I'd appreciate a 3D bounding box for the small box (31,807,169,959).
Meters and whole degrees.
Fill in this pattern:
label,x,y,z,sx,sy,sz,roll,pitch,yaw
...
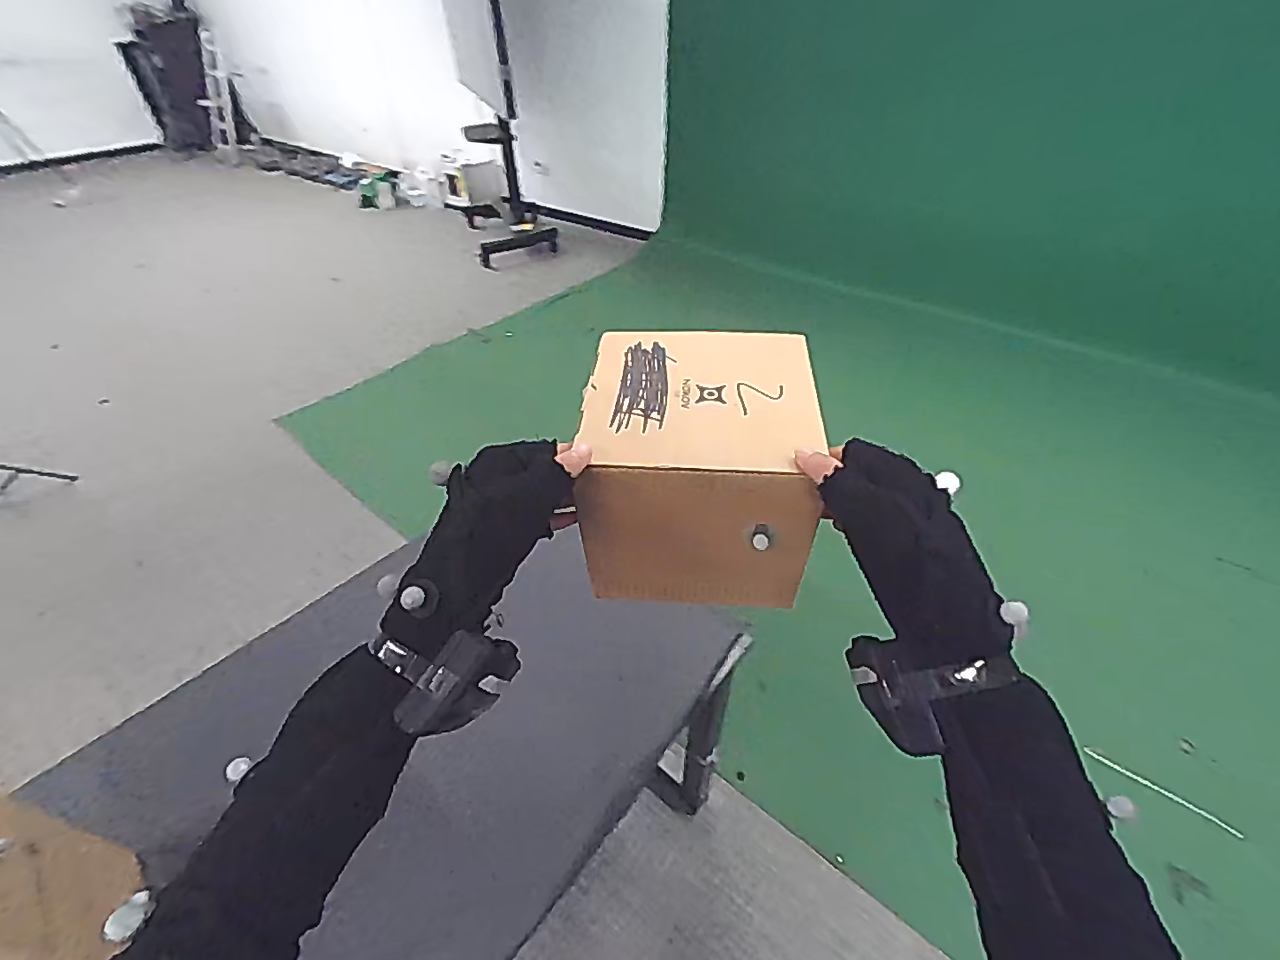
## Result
label,x,y,z,sx,sy,sz,roll,pitch,yaw
small box,-0.605,0.466,0.508,0.168,0.176,0.179,32,49,31
